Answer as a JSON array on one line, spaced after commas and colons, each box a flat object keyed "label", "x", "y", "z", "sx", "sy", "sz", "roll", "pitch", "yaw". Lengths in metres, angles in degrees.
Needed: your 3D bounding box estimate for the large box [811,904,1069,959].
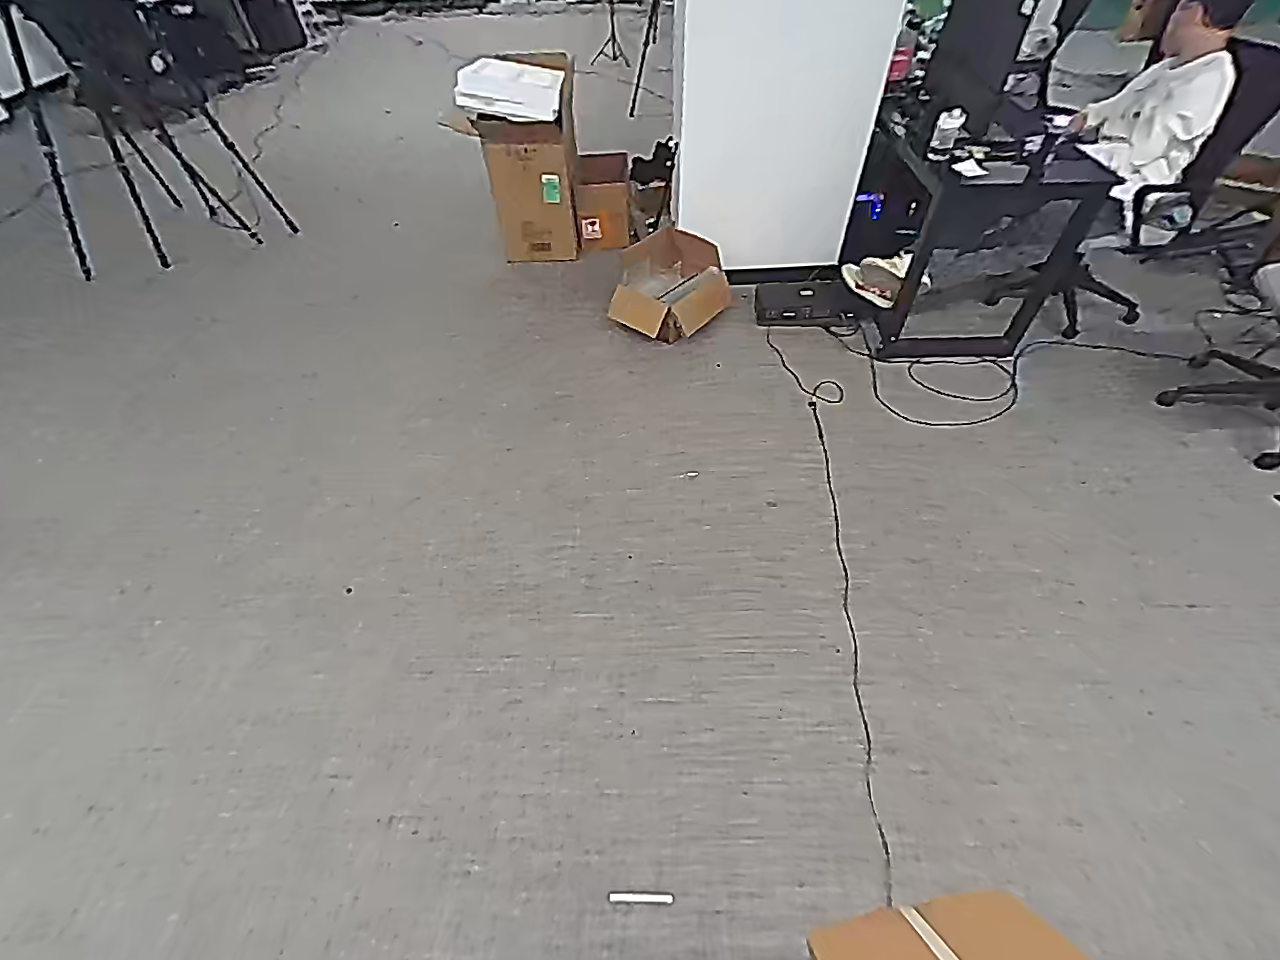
[{"label": "large box", "x": 0.430, "y": 0.773, "z": 0.589, "sx": 0.320, "sy": 0.408, "sz": 0.320, "roll": -9, "pitch": 81, "yaw": -4}]
